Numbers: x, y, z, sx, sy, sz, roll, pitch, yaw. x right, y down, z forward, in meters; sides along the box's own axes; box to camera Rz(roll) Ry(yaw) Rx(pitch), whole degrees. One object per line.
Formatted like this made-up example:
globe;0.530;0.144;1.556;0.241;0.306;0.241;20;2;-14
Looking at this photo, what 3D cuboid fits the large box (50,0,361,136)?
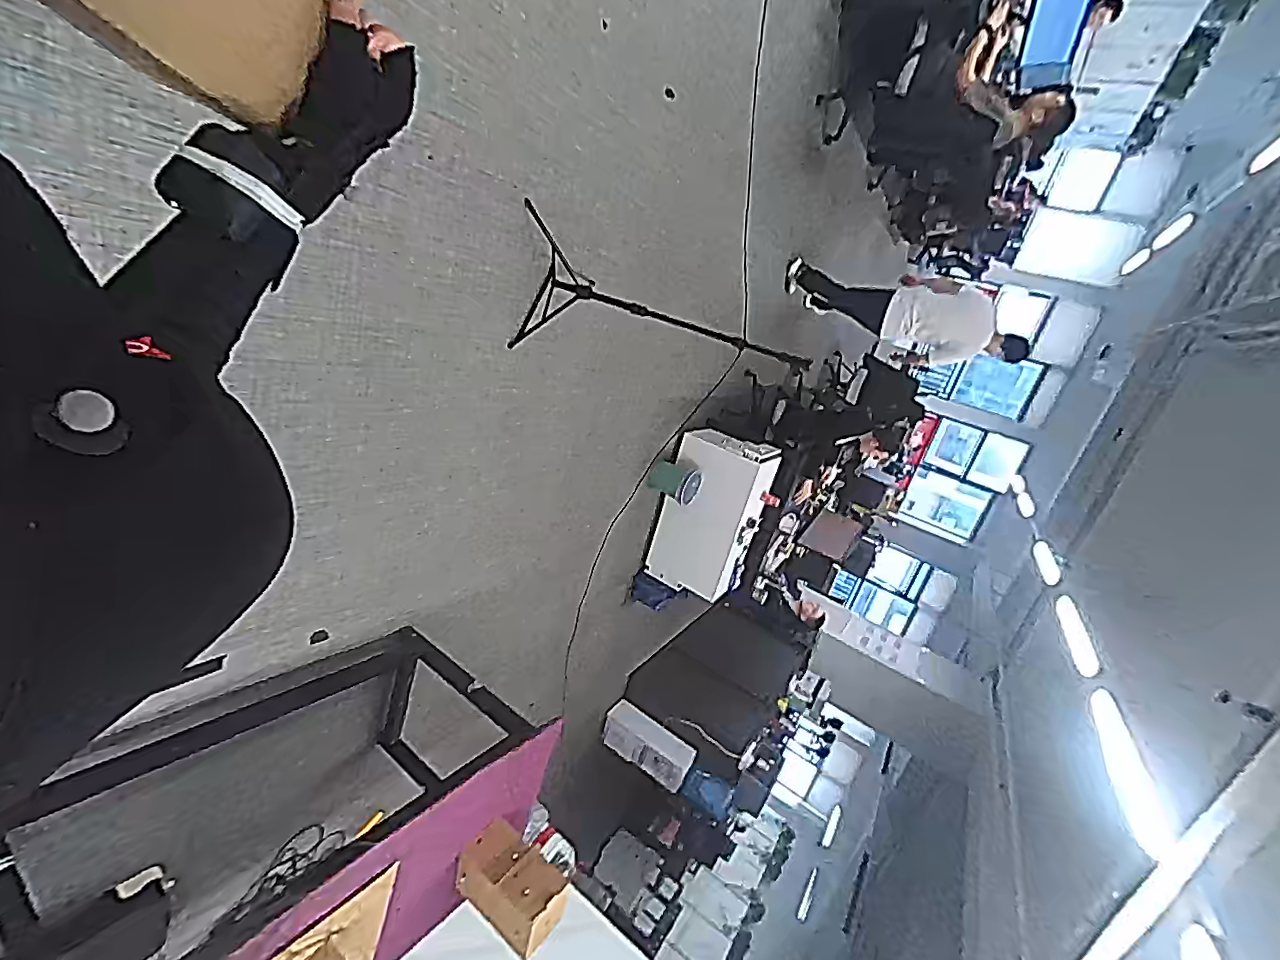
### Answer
large box;-0.391;-0.507;0.303;0.320;0.320;0.408;-56;155;4
